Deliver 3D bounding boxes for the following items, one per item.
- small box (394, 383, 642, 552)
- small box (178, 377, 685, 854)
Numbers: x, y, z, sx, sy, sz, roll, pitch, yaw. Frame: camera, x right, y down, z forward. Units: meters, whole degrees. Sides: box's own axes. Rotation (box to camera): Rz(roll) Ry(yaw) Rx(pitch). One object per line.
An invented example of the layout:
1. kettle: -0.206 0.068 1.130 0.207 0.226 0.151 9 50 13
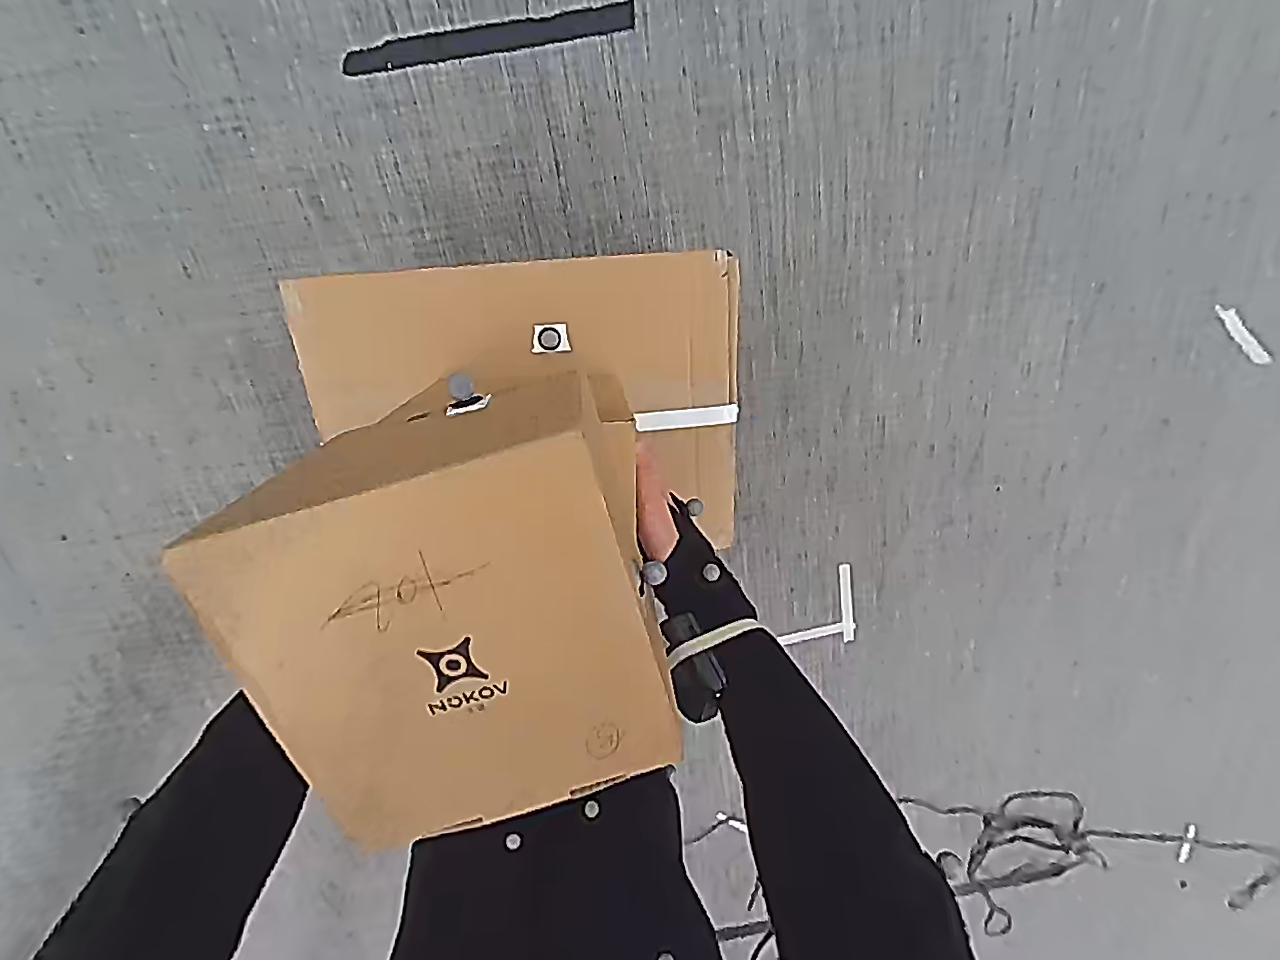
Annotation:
1. small box: -0.093 0.014 0.465 0.179 0.176 0.168 -2 111 -6
2. small box: -0.084 0.056 0.308 0.168 0.176 0.179 -17 111 -1
